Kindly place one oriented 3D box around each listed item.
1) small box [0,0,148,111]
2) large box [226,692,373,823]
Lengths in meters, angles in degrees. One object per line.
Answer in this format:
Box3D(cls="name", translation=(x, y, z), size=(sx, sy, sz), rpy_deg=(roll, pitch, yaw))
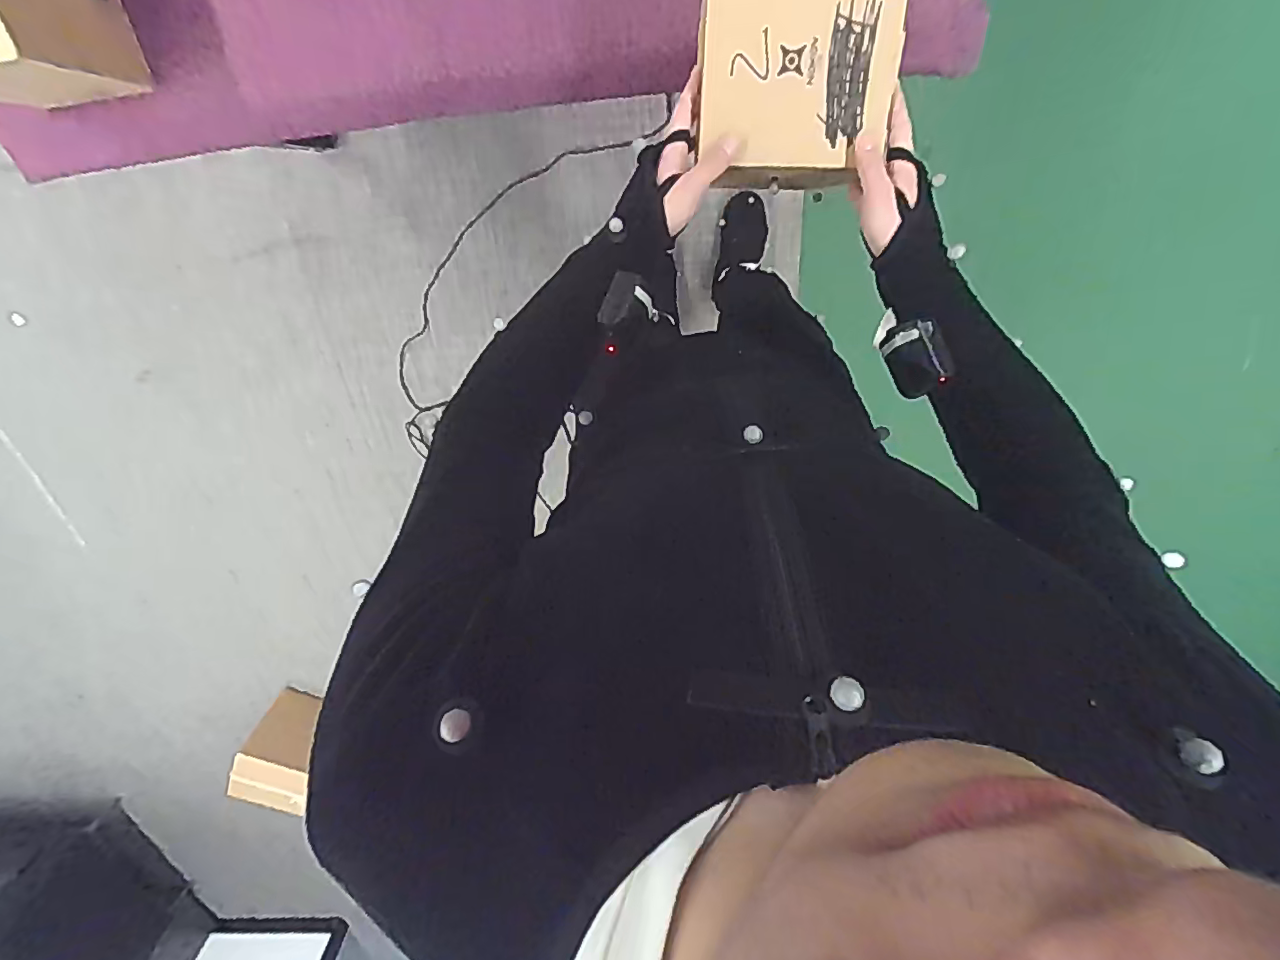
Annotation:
Box3D(cls="small box", translation=(-0.691, -0.509, 0.562), size=(0.168, 0.176, 0.179), rpy_deg=(-5, 117, 5))
Box3D(cls="large box", translation=(-1.410, 1.153, 2.259), size=(0.408, 0.320, 0.320), rpy_deg=(25, 118, -12))
